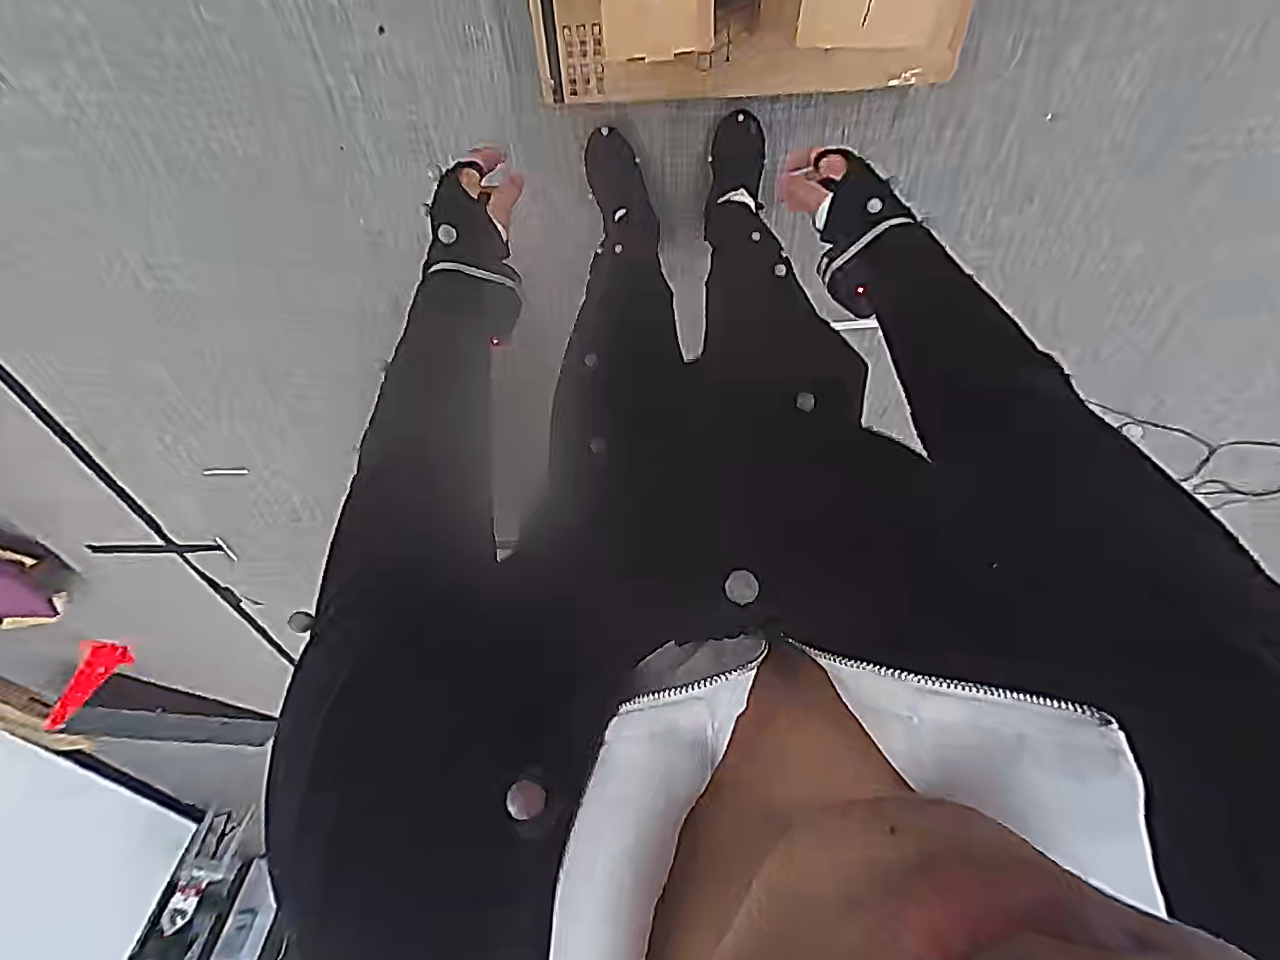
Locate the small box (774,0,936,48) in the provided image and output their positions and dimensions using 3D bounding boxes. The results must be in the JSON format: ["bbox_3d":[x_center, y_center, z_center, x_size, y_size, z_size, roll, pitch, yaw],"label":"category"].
[{"bbox_3d":[0.272,-0.658,0.676,0.168,0.176,0.179,1,133,1],"label":"small box"}]

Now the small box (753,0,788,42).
[{"bbox_3d":[0.264,-0.768,0.797,0.168,0.176,0.179,-2,133,3],"label":"small box"}]

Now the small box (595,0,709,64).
[{"bbox_3d":[0.017,-0.754,0.813,0.168,0.176,0.179,-3,133,4],"label":"small box"}]
